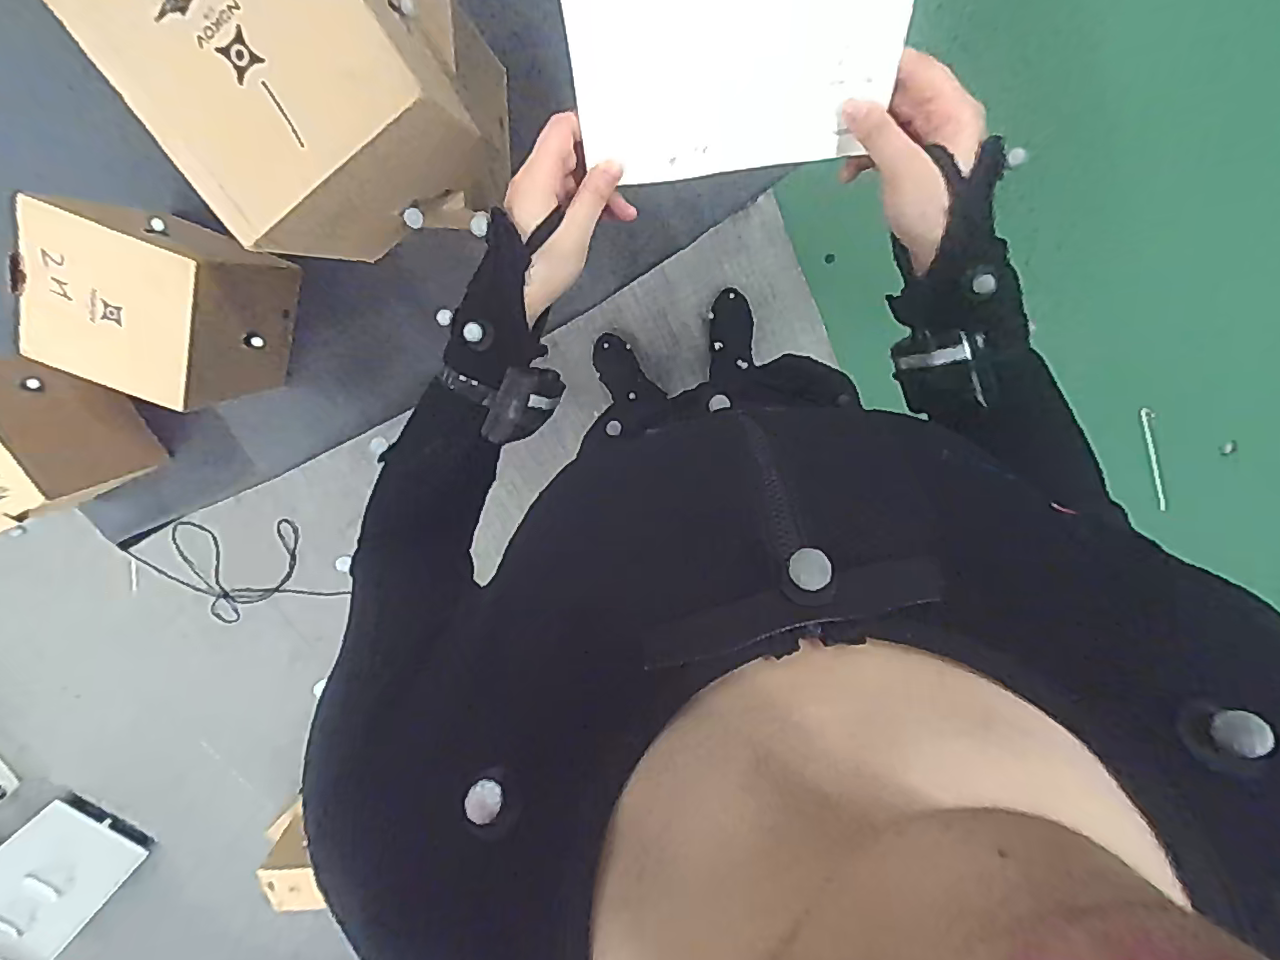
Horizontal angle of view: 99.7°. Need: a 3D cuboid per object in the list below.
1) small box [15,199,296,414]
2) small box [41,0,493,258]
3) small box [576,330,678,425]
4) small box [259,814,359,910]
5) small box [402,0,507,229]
[{"bbox_3d":[-0.538,-0.197,0.623,0.179,0.176,0.168,21,109,-4],"label":"small box"},{"bbox_3d":[-0.242,-0.286,0.400,0.168,0.176,0.179,-29,106,14],"label":"small box"},{"bbox_3d":[-0.029,-0.248,1.335,0.176,0.168,0.179,18,86,-34],"label":"small box"},{"bbox_3d":[-0.951,1.109,1.578,0.179,0.176,0.168,-6,109,3],"label":"small box"},{"bbox_3d":[-0.241,-0.355,0.551,0.179,0.176,0.168,3,110,3],"label":"small box"}]
